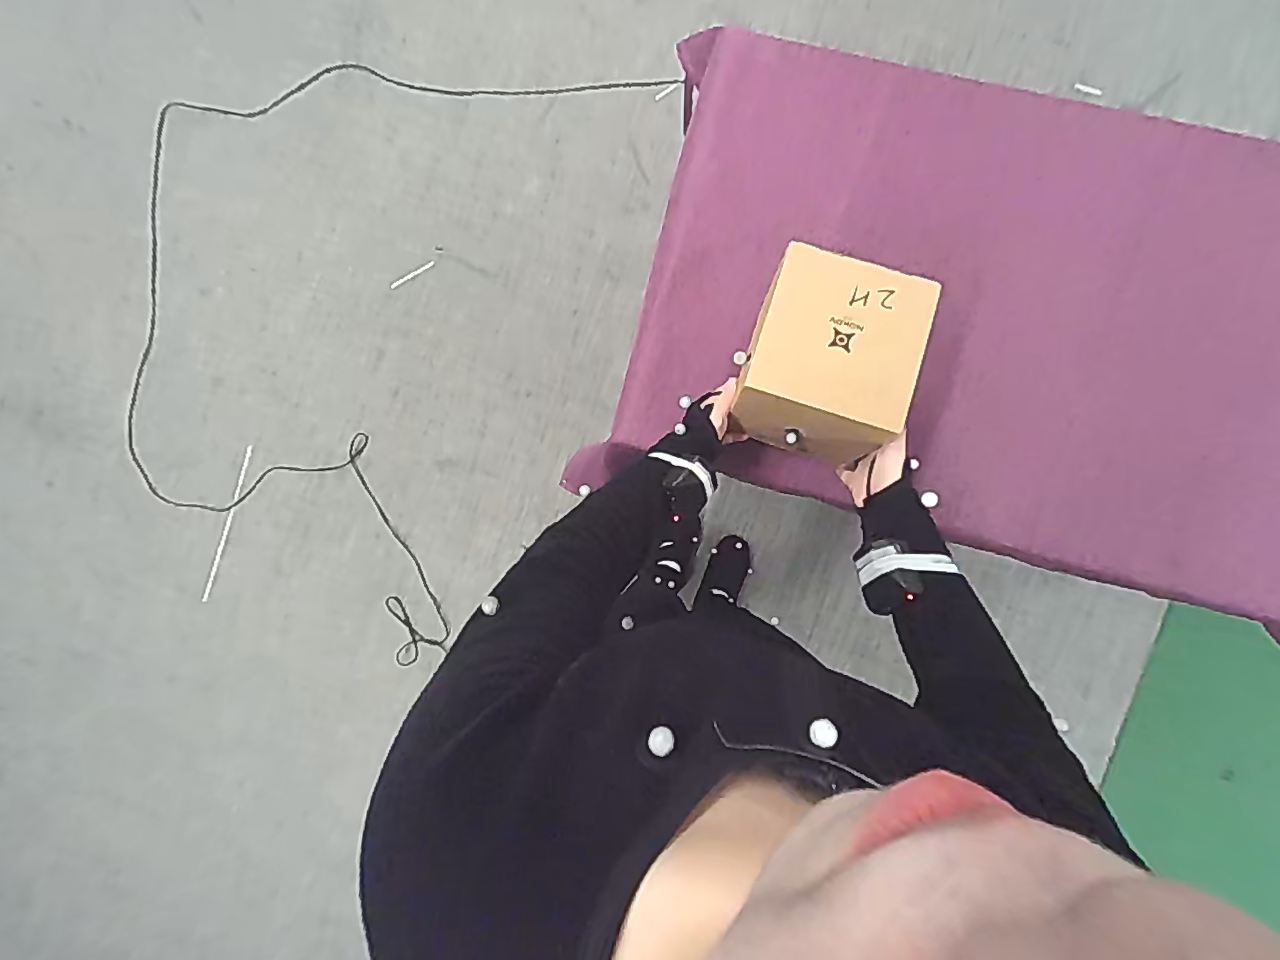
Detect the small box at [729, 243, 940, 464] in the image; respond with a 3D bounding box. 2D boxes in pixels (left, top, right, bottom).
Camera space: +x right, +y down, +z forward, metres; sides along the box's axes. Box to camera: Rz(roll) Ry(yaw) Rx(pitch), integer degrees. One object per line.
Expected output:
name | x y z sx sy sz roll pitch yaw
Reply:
small box | 0.211 -0.133 0.635 0.168 0.176 0.179 19 80 4
